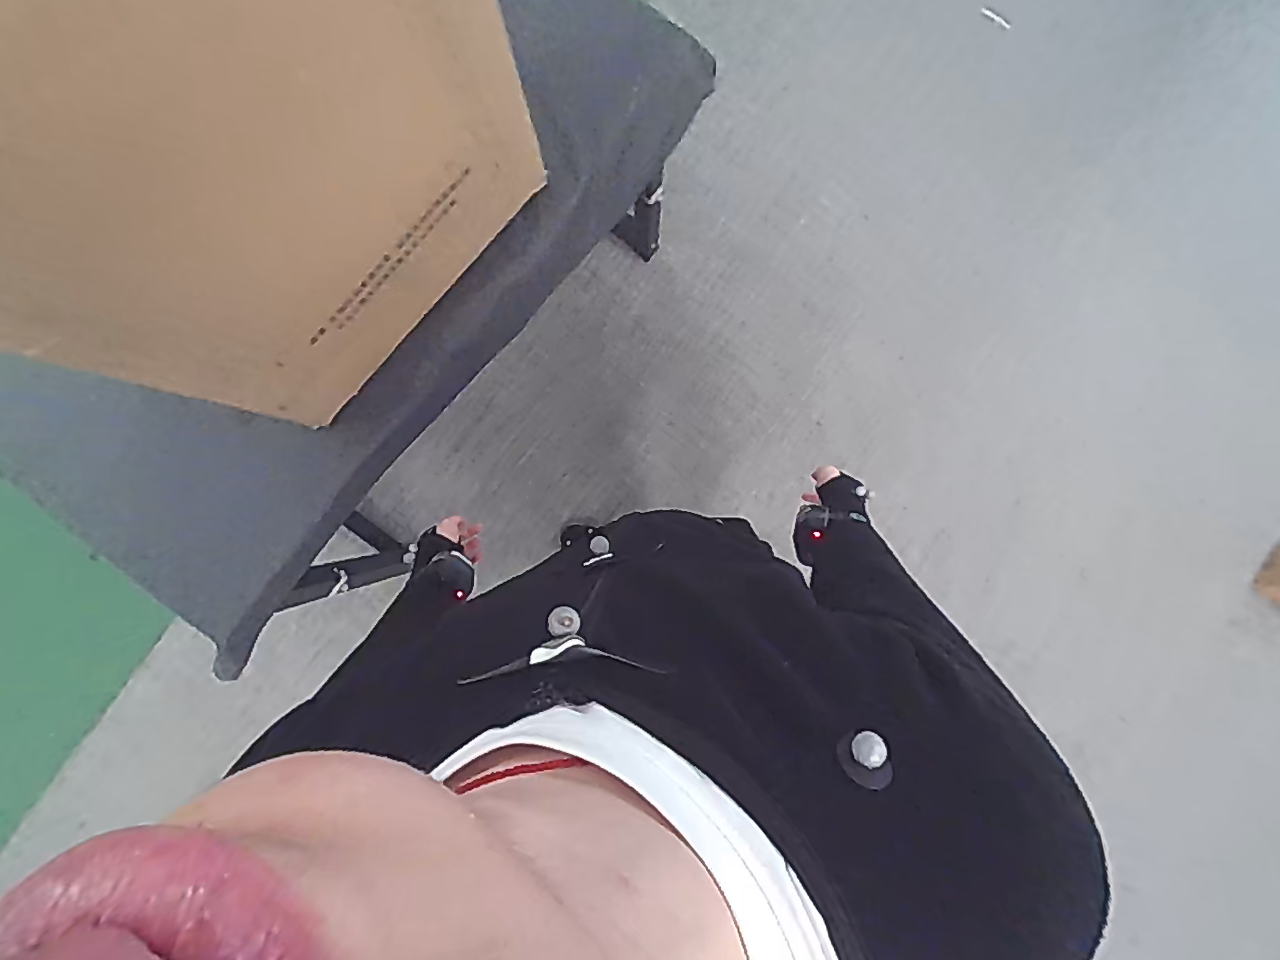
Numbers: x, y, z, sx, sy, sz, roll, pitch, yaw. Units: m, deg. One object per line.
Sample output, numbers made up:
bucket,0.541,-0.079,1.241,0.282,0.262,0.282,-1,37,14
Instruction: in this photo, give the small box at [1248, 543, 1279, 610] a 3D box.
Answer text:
small box,1.854,0.284,1.471,0.179,0.176,0.168,38,87,2
